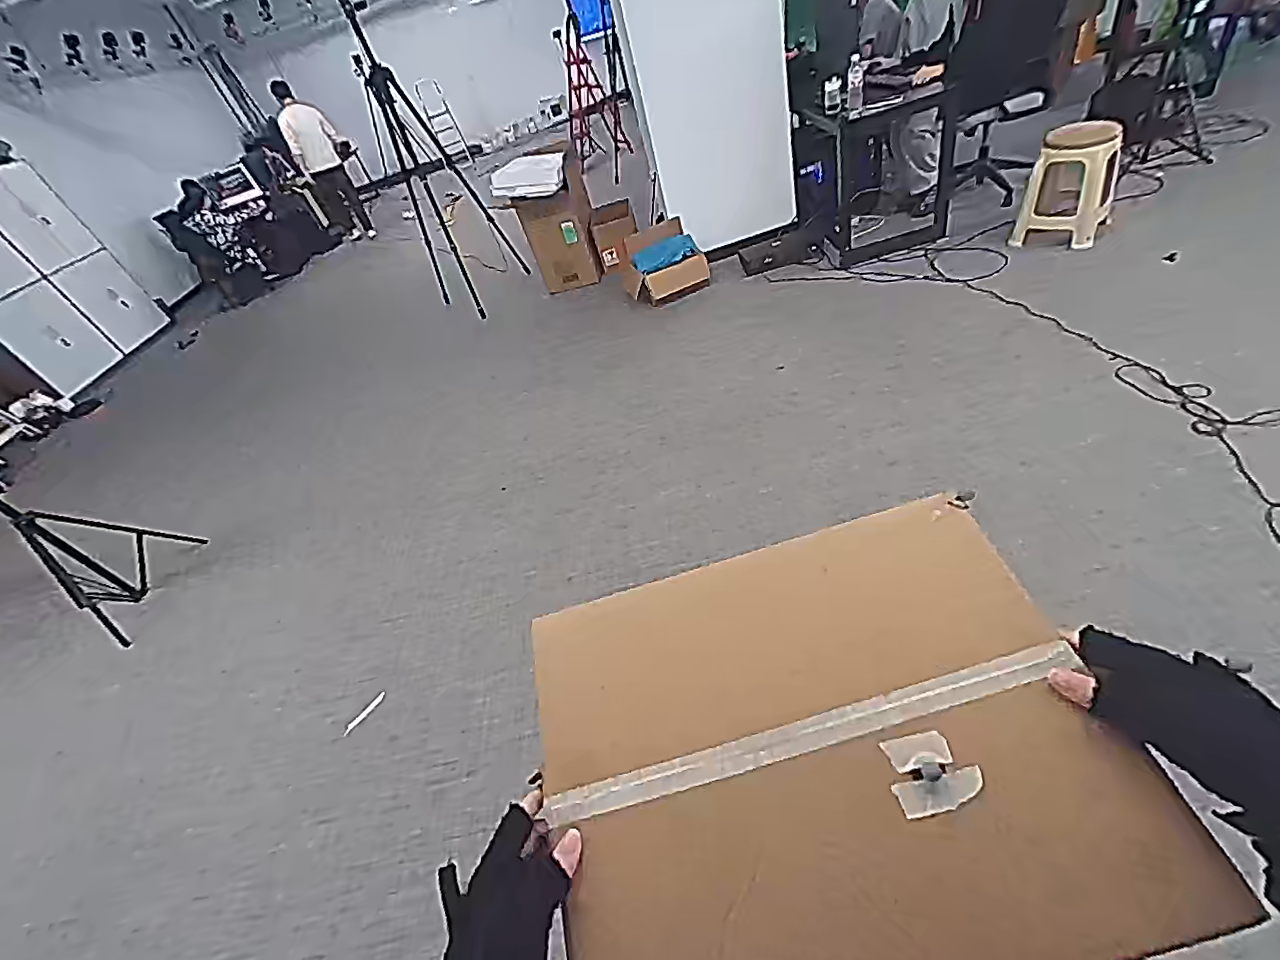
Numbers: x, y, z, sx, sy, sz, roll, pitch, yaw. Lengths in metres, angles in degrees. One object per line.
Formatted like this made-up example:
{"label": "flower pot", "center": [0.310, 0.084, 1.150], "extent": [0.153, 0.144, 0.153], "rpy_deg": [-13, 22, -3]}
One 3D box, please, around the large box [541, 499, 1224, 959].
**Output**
{"label": "large box", "center": [0.158, 0.280, 0.533], "extent": [0.408, 0.320, 0.320], "rpy_deg": [-18, 53, 1]}
